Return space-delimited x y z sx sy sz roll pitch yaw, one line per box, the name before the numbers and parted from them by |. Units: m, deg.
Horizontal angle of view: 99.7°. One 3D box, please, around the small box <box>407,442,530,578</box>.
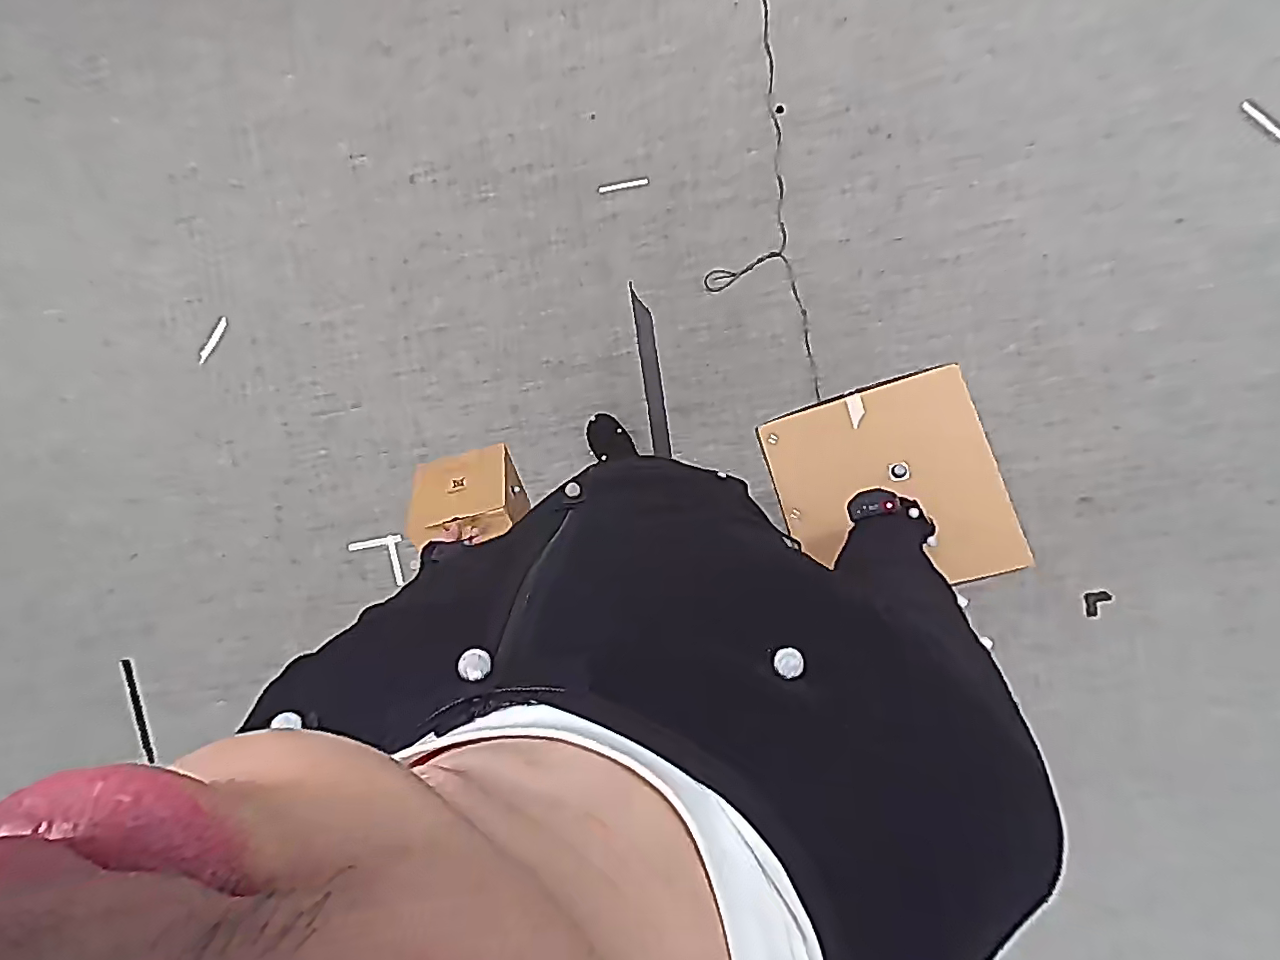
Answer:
small box | -0.306 0.062 0.995 0.168 0.179 0.176 -13 134 -3
